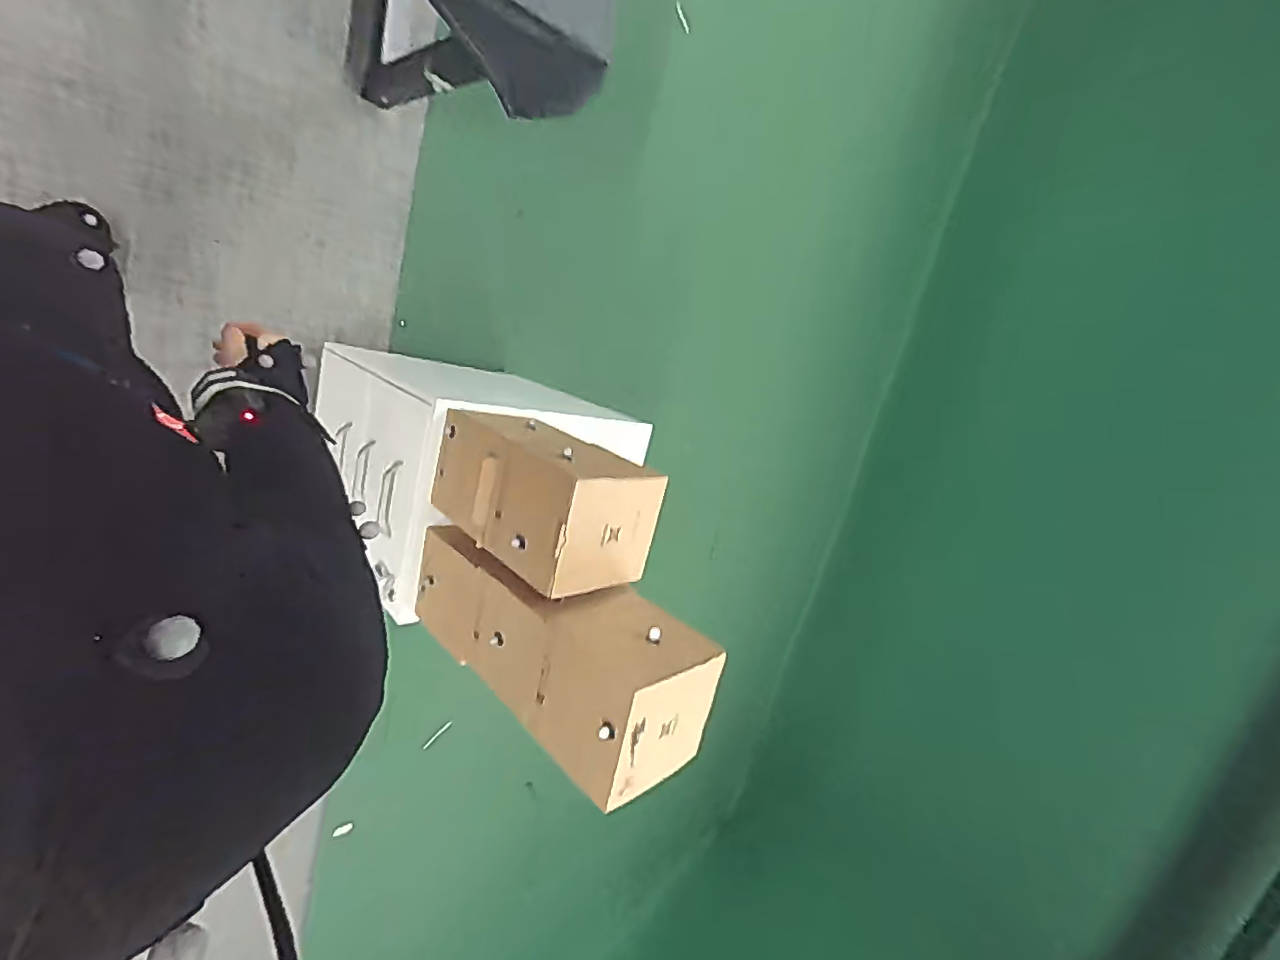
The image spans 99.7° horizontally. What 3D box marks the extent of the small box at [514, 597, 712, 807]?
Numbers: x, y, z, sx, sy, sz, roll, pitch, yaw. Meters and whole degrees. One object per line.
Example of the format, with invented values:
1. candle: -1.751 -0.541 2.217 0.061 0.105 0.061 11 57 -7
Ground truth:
1. small box: -0.037 0.273 0.717 0.179 0.176 0.168 -2 110 -49

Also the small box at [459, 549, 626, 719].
1. small box: -0.152 0.219 0.819 0.179 0.176 0.168 -5 113 -47
